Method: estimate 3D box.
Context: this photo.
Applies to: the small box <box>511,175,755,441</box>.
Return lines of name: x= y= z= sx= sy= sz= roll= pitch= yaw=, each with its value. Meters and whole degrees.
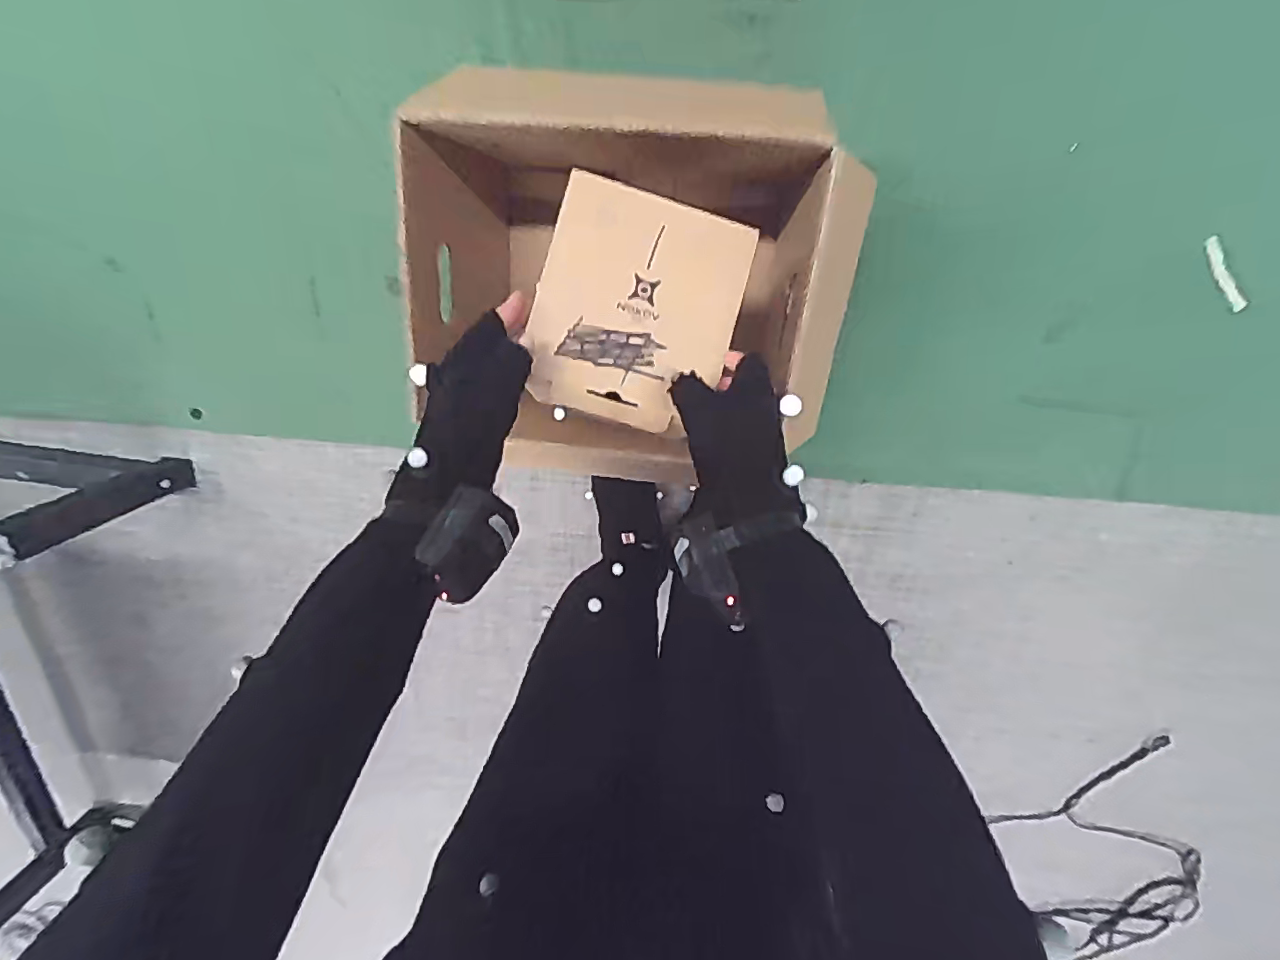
small box: x=-0.012 y=-0.142 z=0.520 sx=0.168 sy=0.176 sz=0.179 roll=15 pitch=89 yaw=-6
